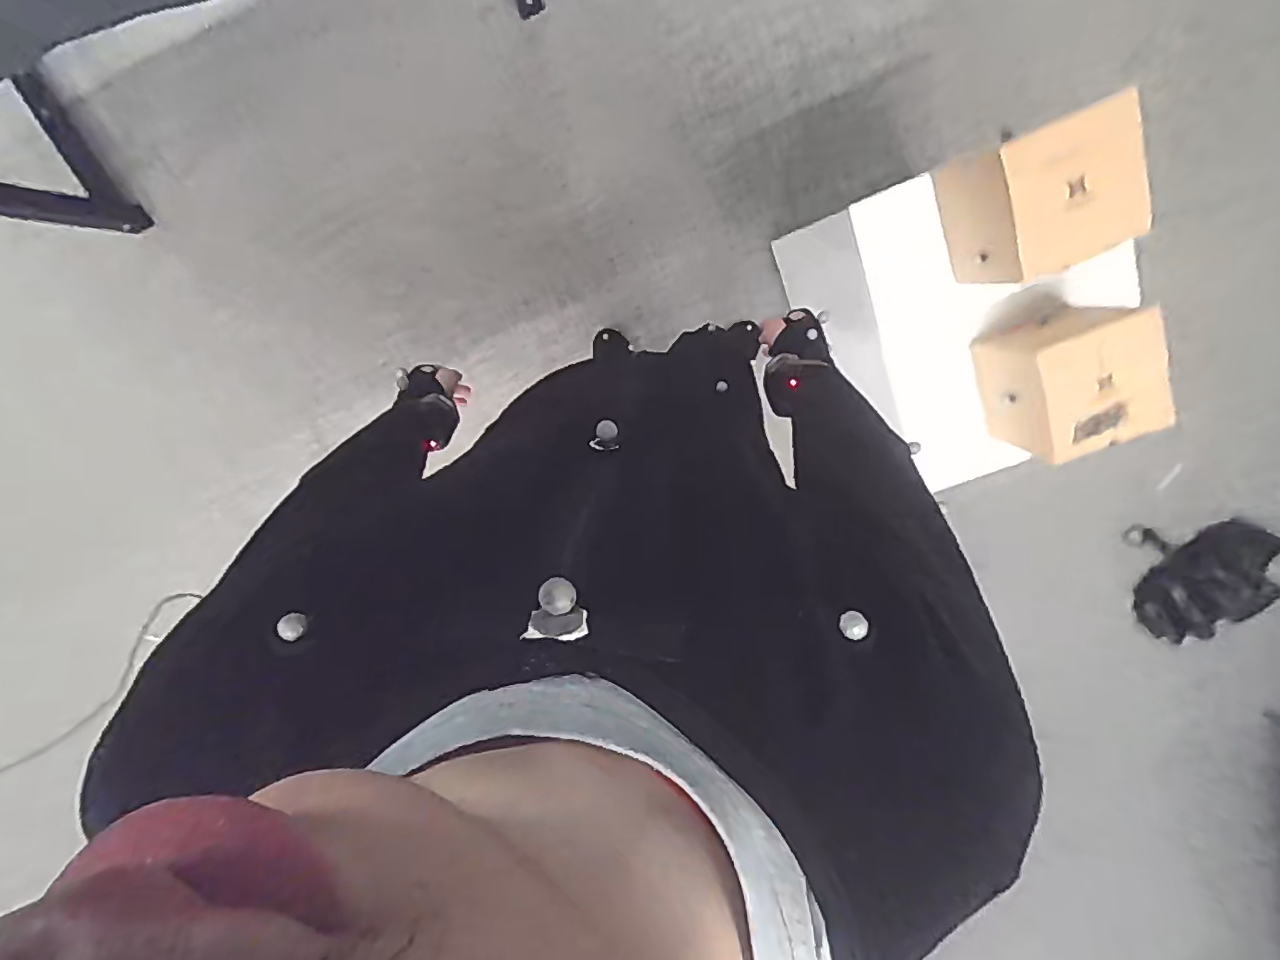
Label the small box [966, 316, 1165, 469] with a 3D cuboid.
[{"bbox_3d":[0.639,-0.142,0.829,0.168,0.176,0.179,-21,106,6],"label":"small box"}]

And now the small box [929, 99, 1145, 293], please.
[{"bbox_3d":[0.539,-0.377,0.754,0.168,0.176,0.179,-23,107,5],"label":"small box"}]
